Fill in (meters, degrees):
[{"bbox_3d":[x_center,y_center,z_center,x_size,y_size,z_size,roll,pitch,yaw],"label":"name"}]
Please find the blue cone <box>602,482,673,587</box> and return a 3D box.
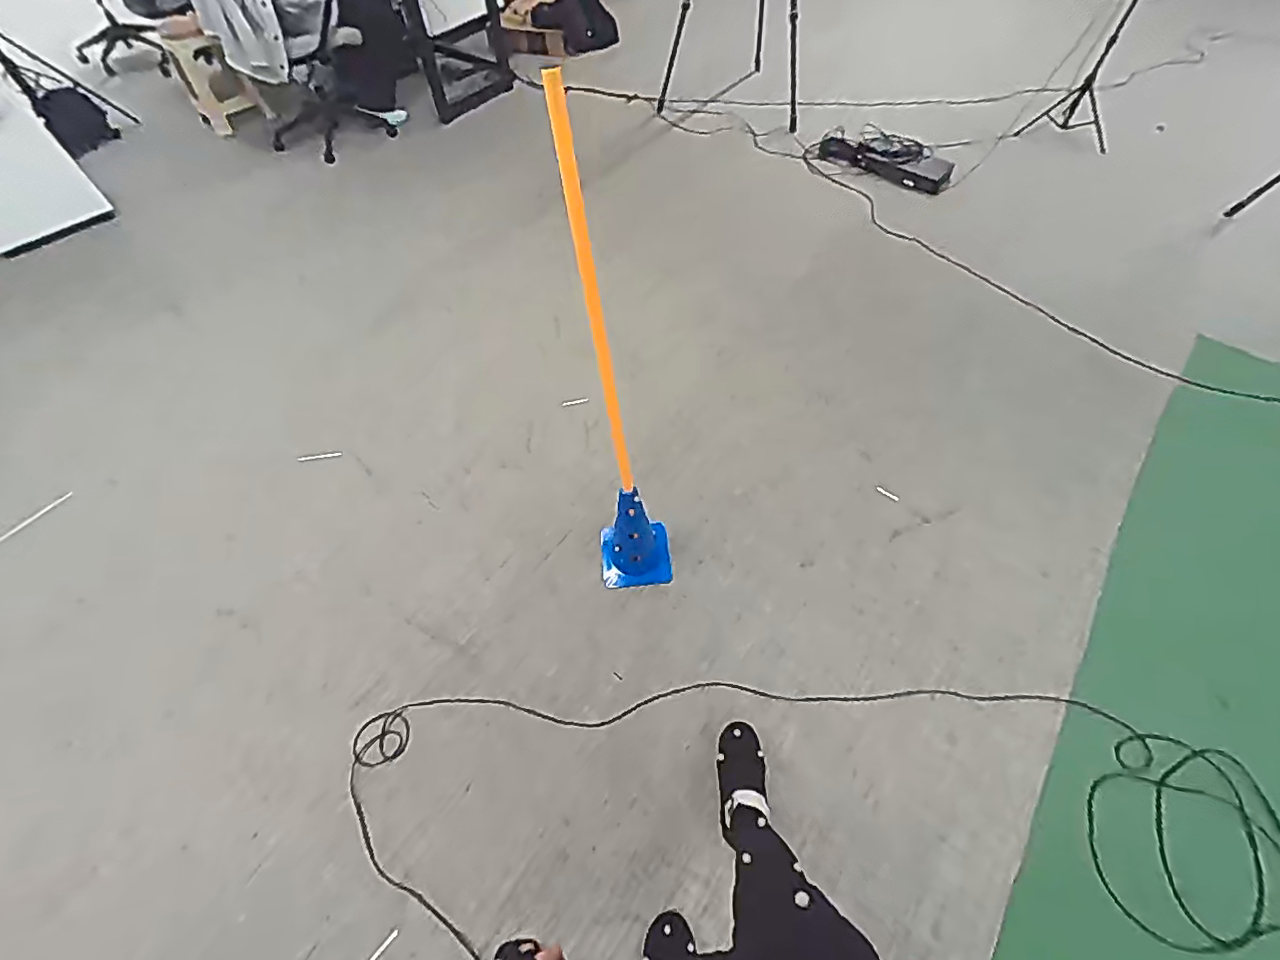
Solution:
[{"bbox_3d":[-0.019,0.127,1.443,0.192,0.380,0.193,-8,55,-2],"label":"blue cone"}]
